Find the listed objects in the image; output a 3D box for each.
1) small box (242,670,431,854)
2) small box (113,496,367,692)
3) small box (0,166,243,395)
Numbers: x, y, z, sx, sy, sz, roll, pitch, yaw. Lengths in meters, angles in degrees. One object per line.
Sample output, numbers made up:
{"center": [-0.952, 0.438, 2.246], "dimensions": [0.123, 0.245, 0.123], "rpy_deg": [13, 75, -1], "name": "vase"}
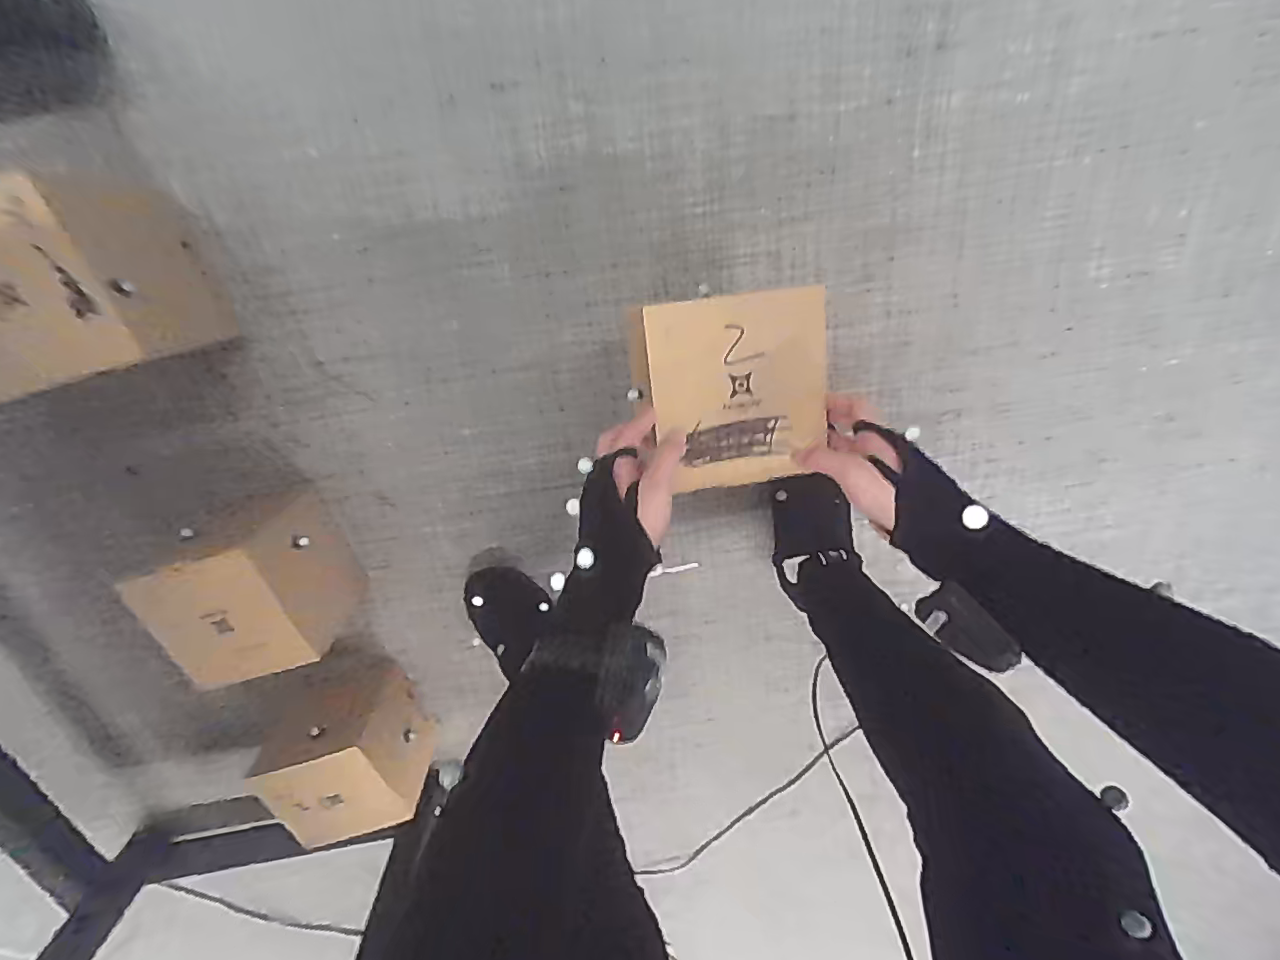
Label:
{"center": [-0.443, 0.422, 0.831], "dimensions": [0.179, 0.176, 0.168], "rpy_deg": [-17, 113, 3], "name": "small box"}
{"center": [-0.498, 0.135, 0.707], "dimensions": [0.168, 0.176, 0.179], "rpy_deg": [-15, 114, 3], "name": "small box"}
{"center": [-0.575, -0.199, 0.558], "dimensions": [0.179, 0.176, 0.168], "rpy_deg": [-15, 113, 2], "name": "small box"}
